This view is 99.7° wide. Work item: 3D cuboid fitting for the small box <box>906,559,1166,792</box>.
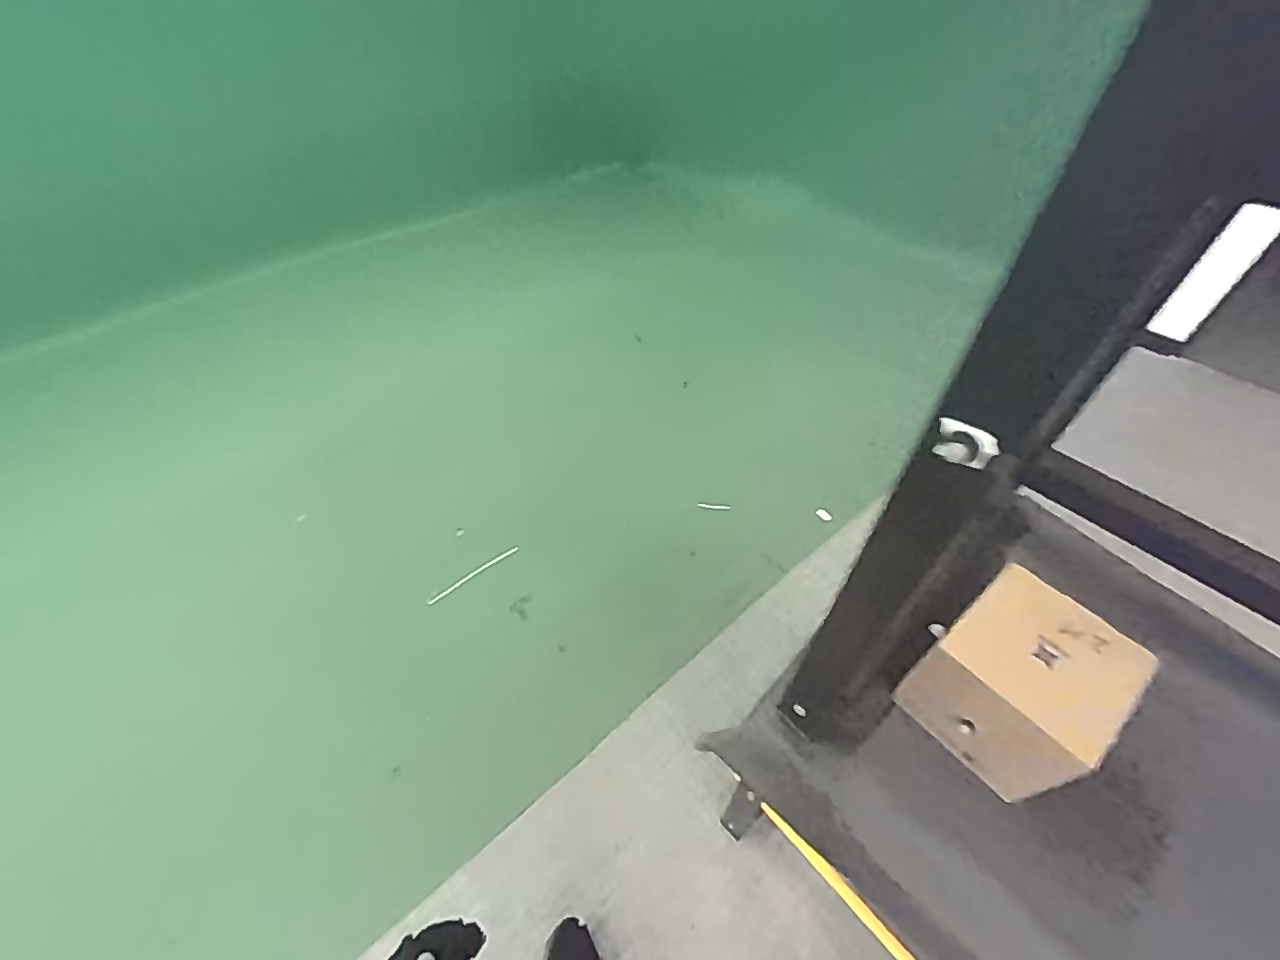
[{"bbox_3d":[0.453,0.237,0.650,0.179,0.176,0.168,-32,56,-24],"label":"small box"}]
